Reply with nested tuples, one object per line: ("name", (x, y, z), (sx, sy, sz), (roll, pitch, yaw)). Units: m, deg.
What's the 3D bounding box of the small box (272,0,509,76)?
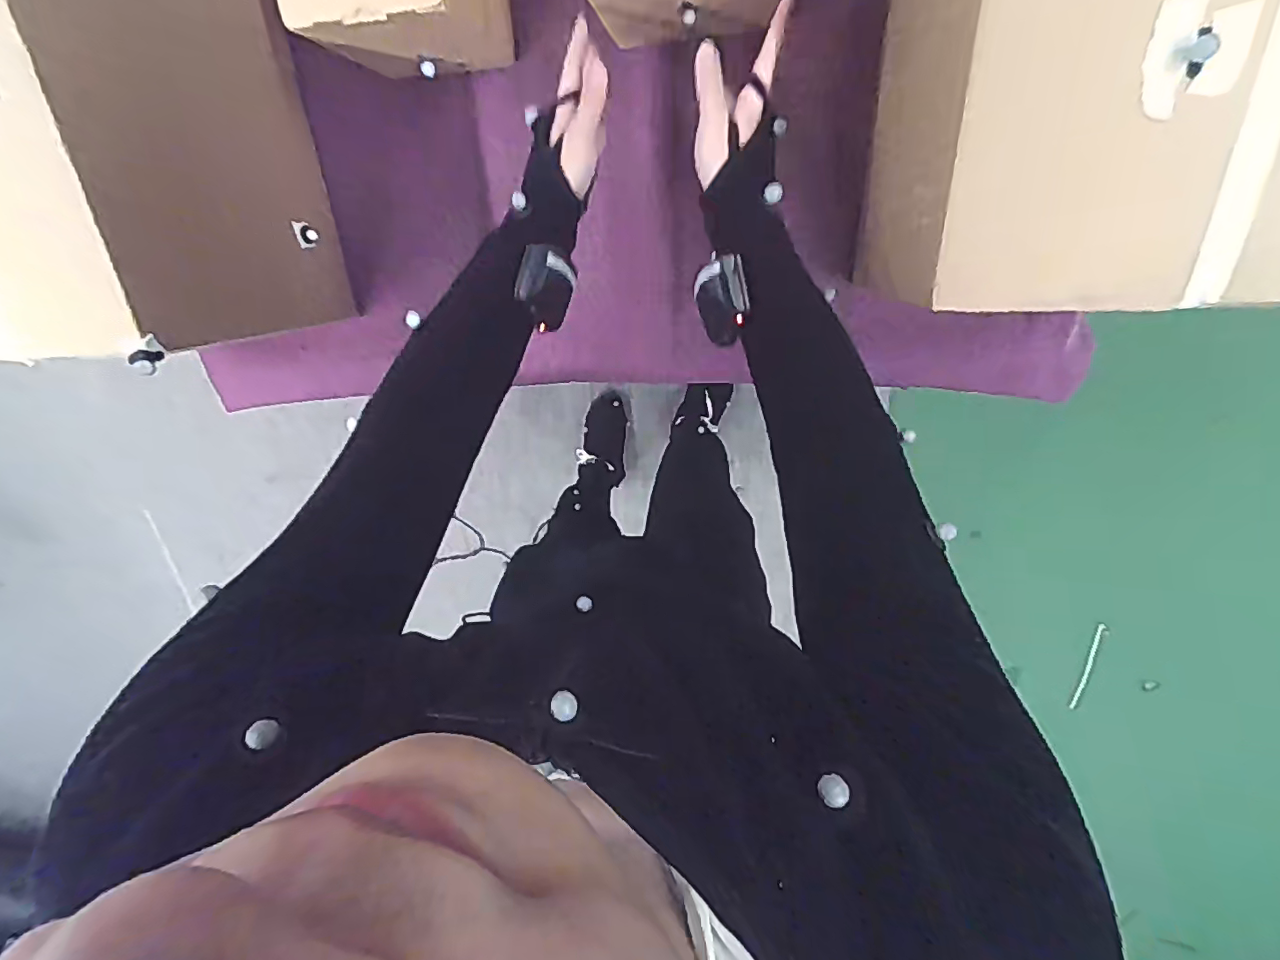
("small box", (-0.241, -0.527, 0.524), (0.168, 0.176, 0.179), (2, 113, 10))
